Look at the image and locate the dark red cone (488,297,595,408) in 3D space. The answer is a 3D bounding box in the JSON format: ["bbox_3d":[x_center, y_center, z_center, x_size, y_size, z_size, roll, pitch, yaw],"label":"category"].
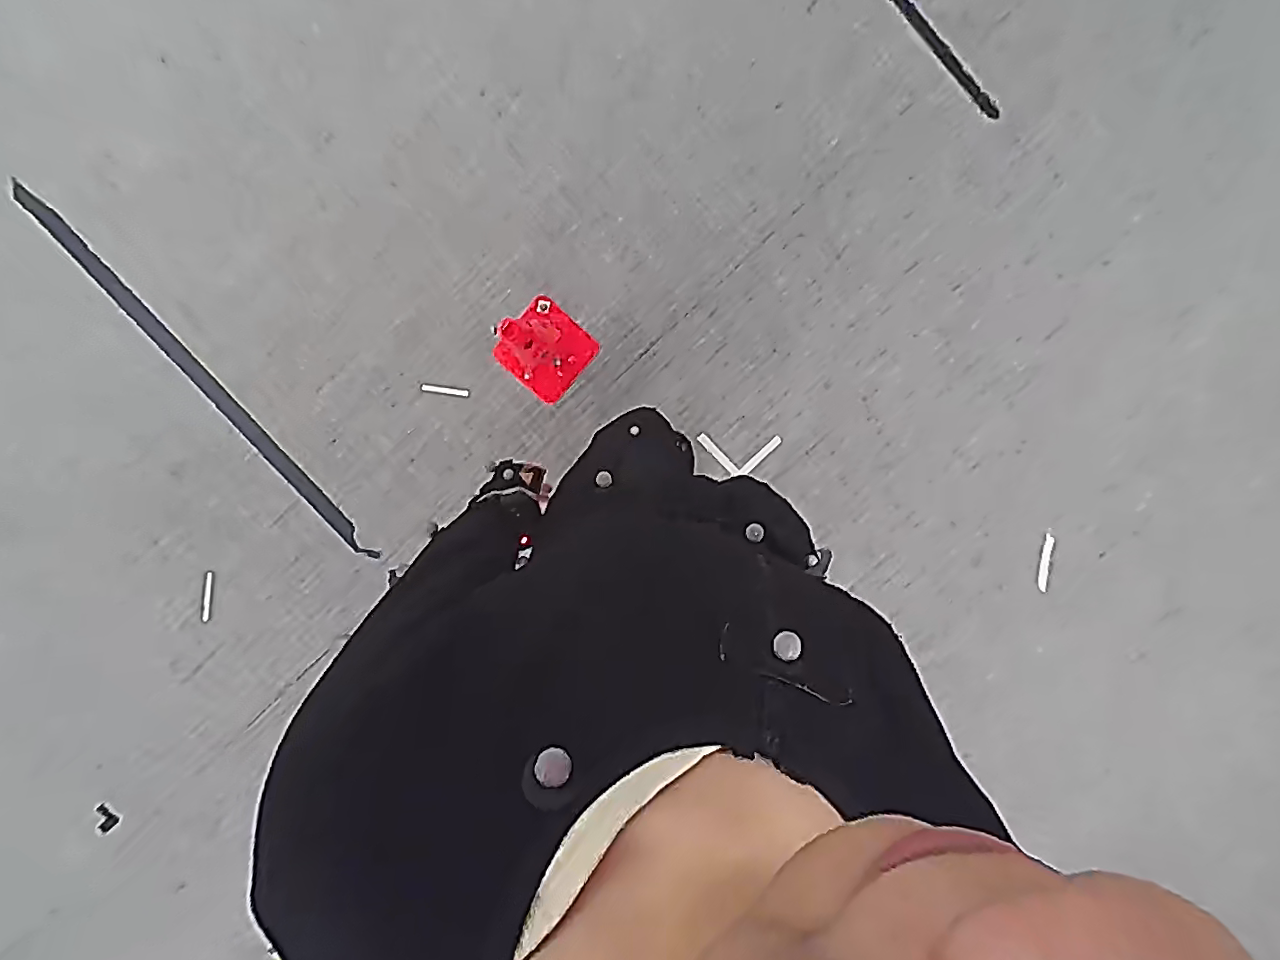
[{"bbox_3d":[-0.238,-0.278,1.122,0.202,0.394,0.201,41,98,-4],"label":"dark red cone"}]
